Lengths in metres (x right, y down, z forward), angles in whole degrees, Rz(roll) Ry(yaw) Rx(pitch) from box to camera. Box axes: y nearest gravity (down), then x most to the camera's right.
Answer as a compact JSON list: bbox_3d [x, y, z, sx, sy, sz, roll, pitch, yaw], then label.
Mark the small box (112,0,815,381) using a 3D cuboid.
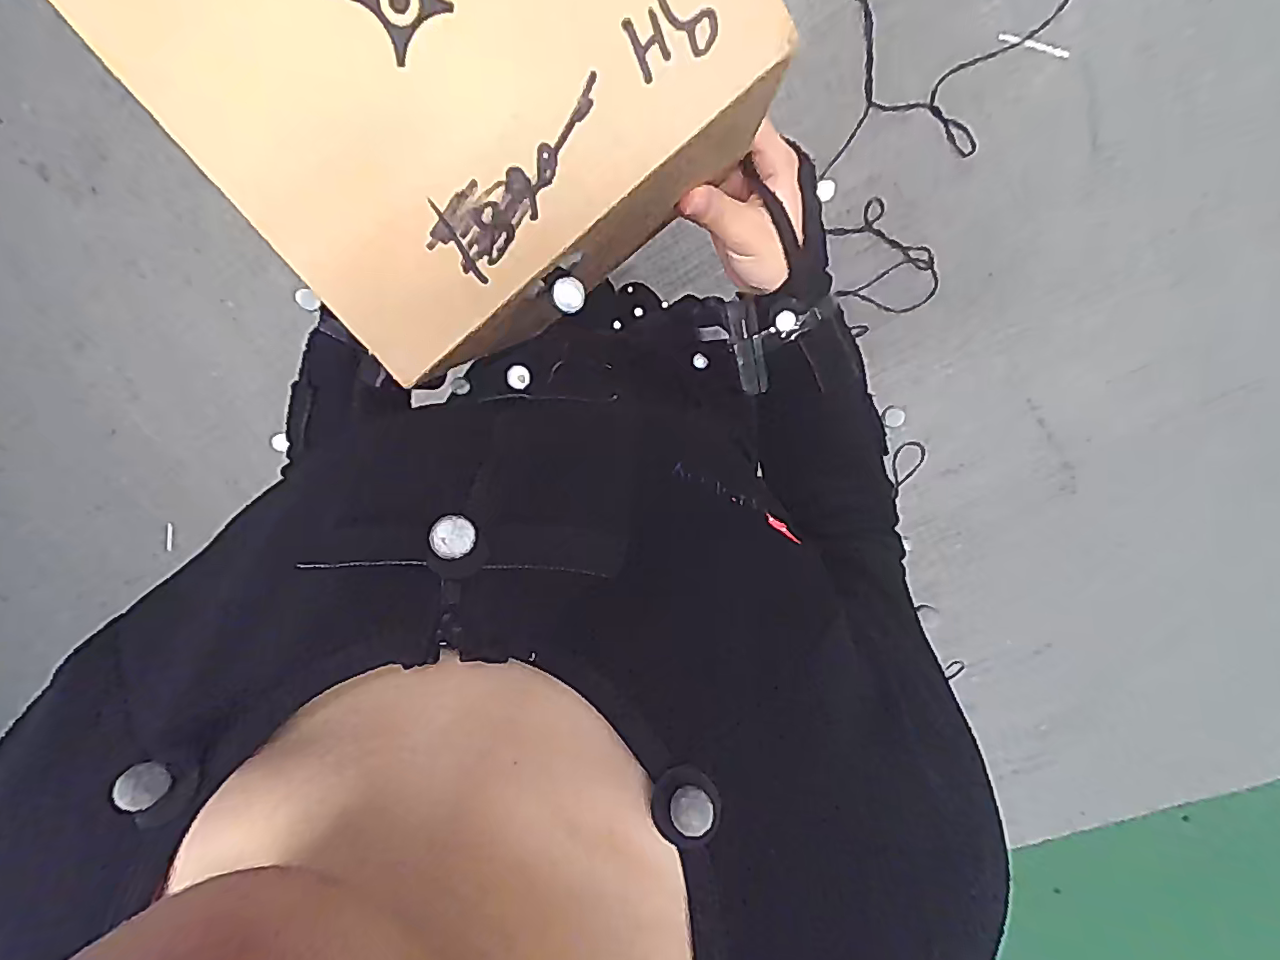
[{"bbox_3d":[-0.055,-0.170,0.239,0.168,0.176,0.179,-35,104,16],"label":"small box"}]
